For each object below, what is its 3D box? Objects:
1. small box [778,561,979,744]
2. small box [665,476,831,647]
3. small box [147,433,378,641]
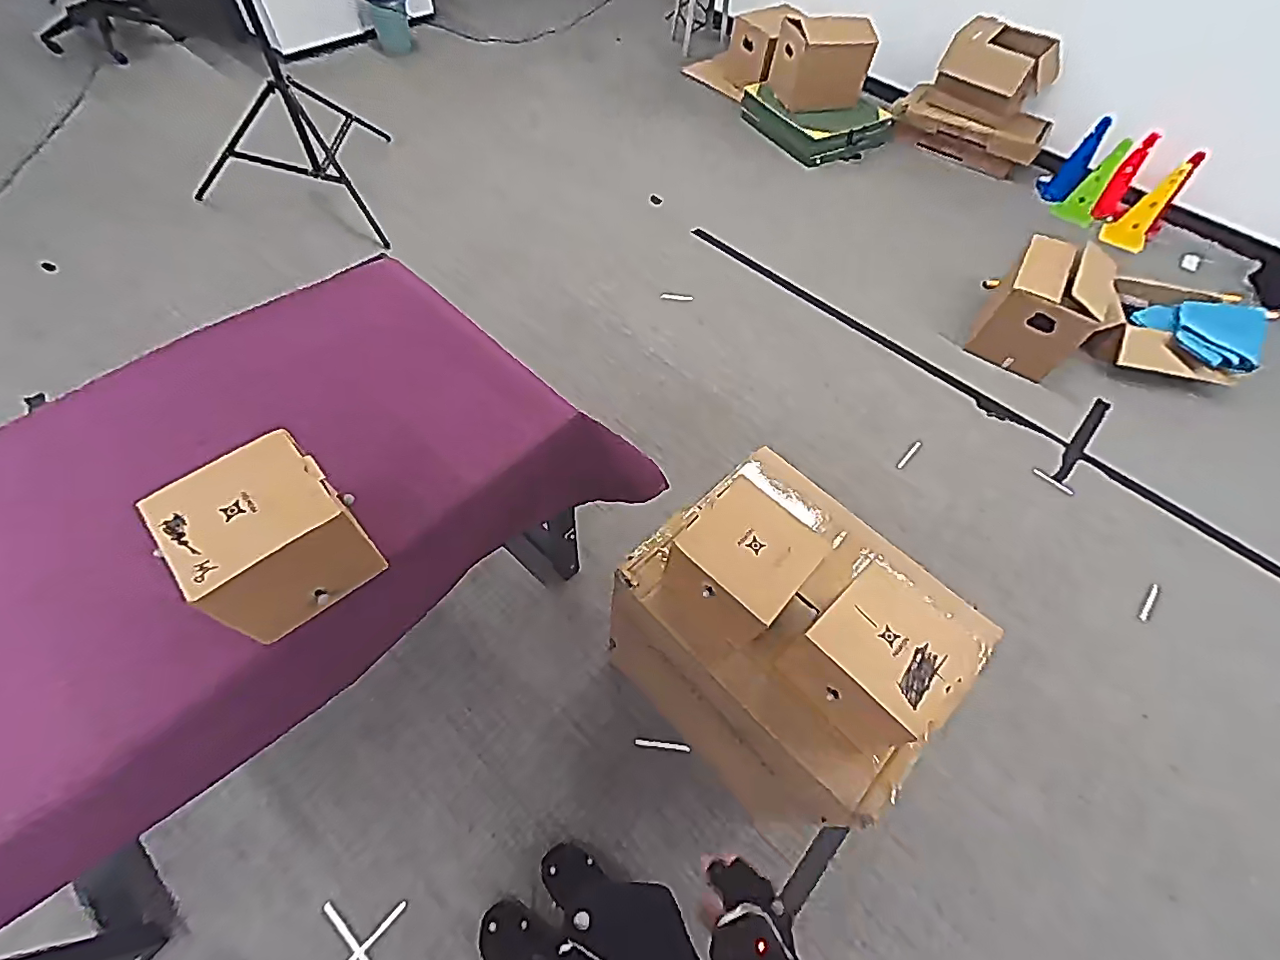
[{"bbox_3d":[0.330,0.256,0.783,0.168,0.176,0.179,-37,66,-23],"label":"small box"},{"bbox_3d":[0.156,0.134,0.849,0.179,0.176,0.168,41,65,18],"label":"small box"},{"bbox_3d":[-0.472,0.078,0.710,0.179,0.176,0.168,-36,66,-25],"label":"small box"}]
